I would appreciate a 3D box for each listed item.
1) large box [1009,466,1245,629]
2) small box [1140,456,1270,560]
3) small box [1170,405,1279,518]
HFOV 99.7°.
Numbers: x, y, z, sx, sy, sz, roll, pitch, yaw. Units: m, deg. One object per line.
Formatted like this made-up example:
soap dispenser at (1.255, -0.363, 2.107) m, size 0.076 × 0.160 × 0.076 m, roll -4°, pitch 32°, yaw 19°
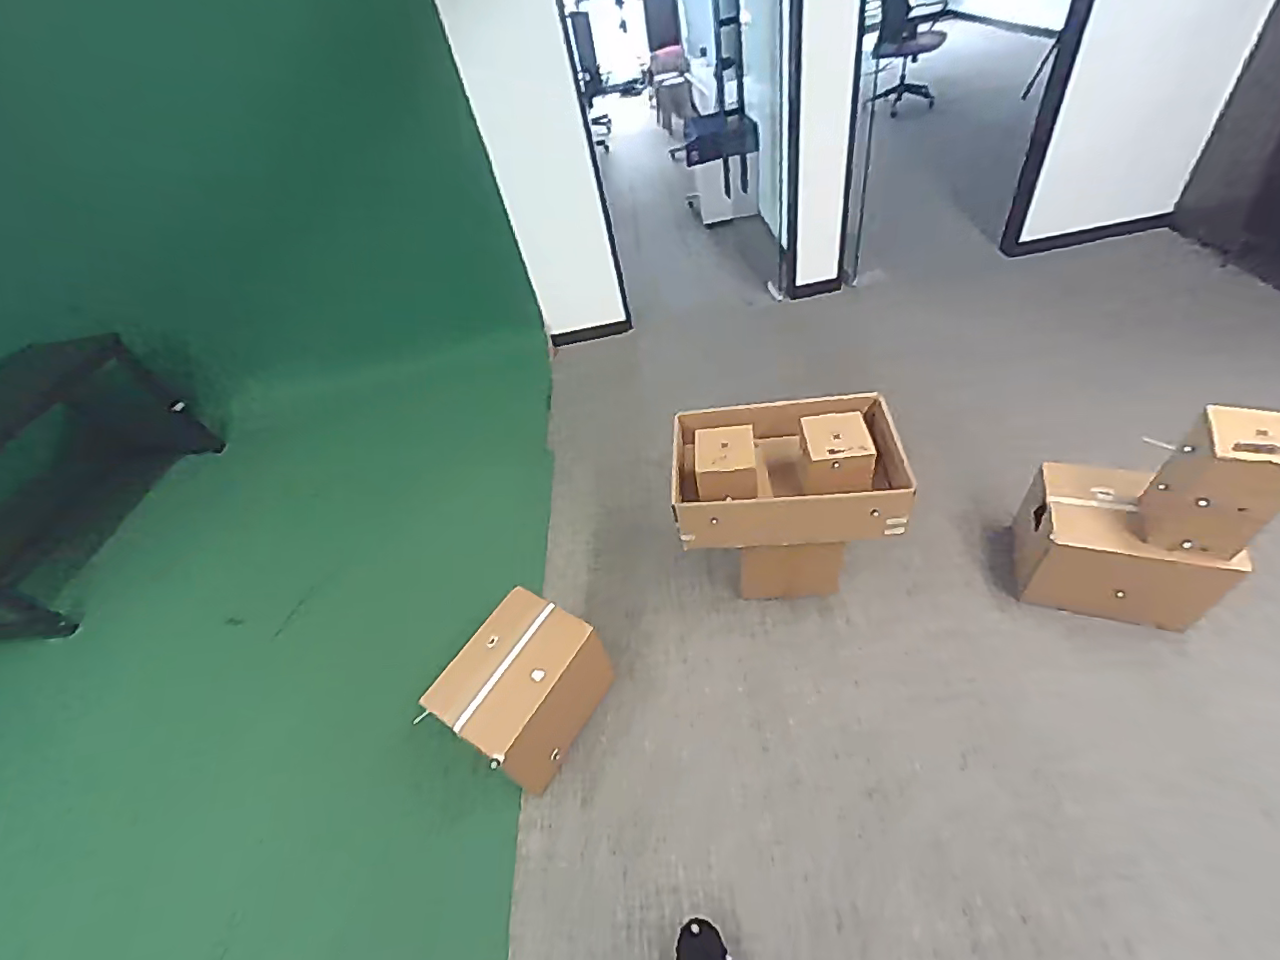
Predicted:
large box at (1.357, 0.191, 1.569) m, size 0.408 × 0.320 × 0.320 m, roll 8°, pitch 49°, yaw 22°
small box at (1.382, 0.066, 1.339) m, size 0.168 × 0.176 × 0.179 m, roll 13°, pitch 53°, yaw 26°
small box at (1.346, -0.040, 1.219) m, size 0.168 × 0.176 × 0.179 m, roll 14°, pitch 52°, yaw 26°
